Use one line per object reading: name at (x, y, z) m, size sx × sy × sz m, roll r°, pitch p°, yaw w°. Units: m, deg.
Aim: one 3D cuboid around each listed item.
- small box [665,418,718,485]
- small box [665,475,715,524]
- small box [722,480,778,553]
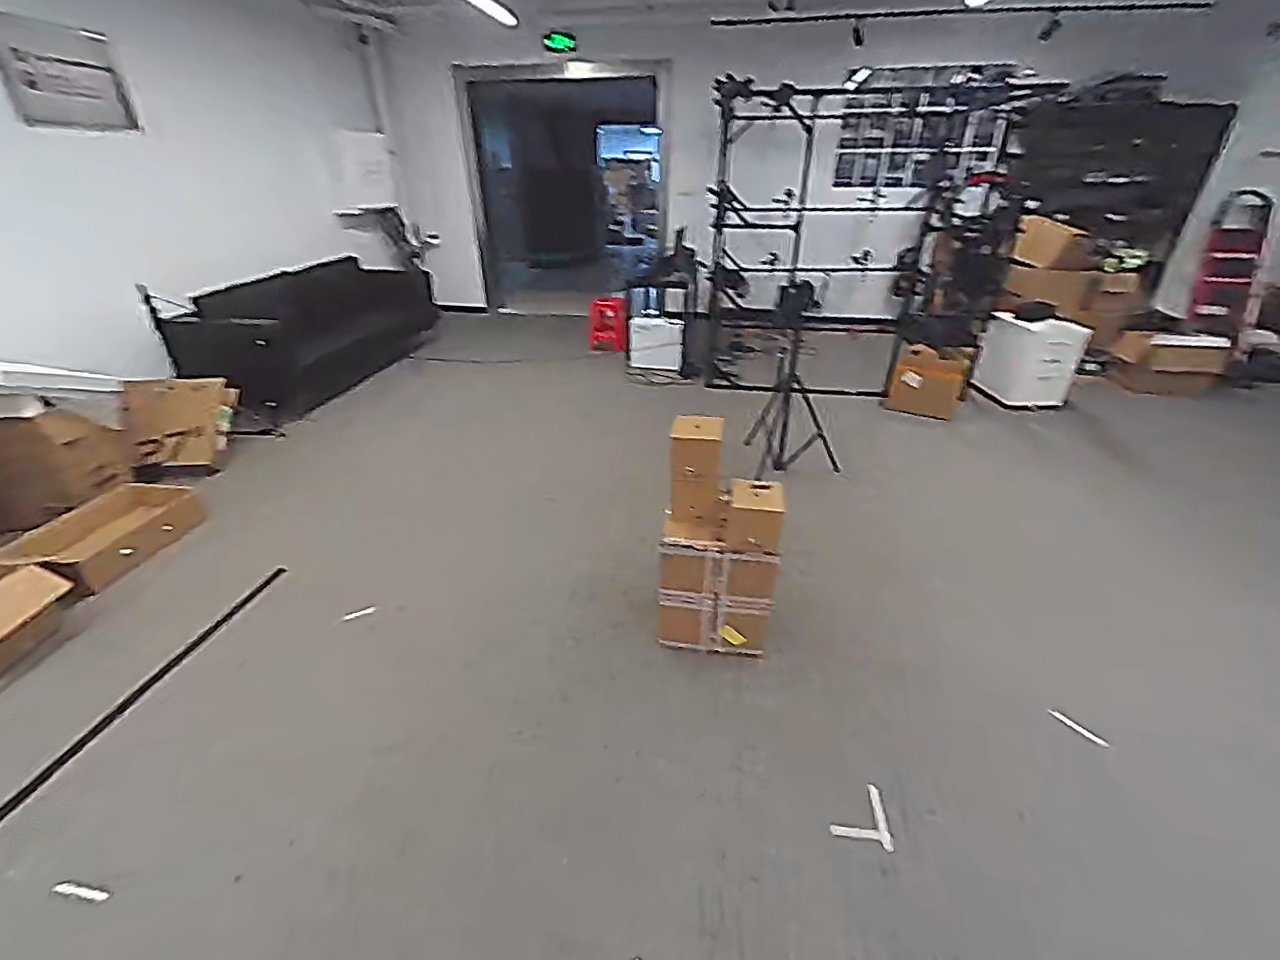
small box at (0.179, -0.101, 1.862) m, size 0.168 × 0.176 × 0.179 m, roll 3°, pitch 32°, yaw 9°
small box at (0.182, 0.038, 1.946) m, size 0.168 × 0.176 × 0.179 m, roll 3°, pitch 31°, yaw 9°
small box at (0.364, 0.120, 1.807) m, size 0.168 × 0.176 × 0.179 m, roll 5°, pitch 32°, yaw 8°
